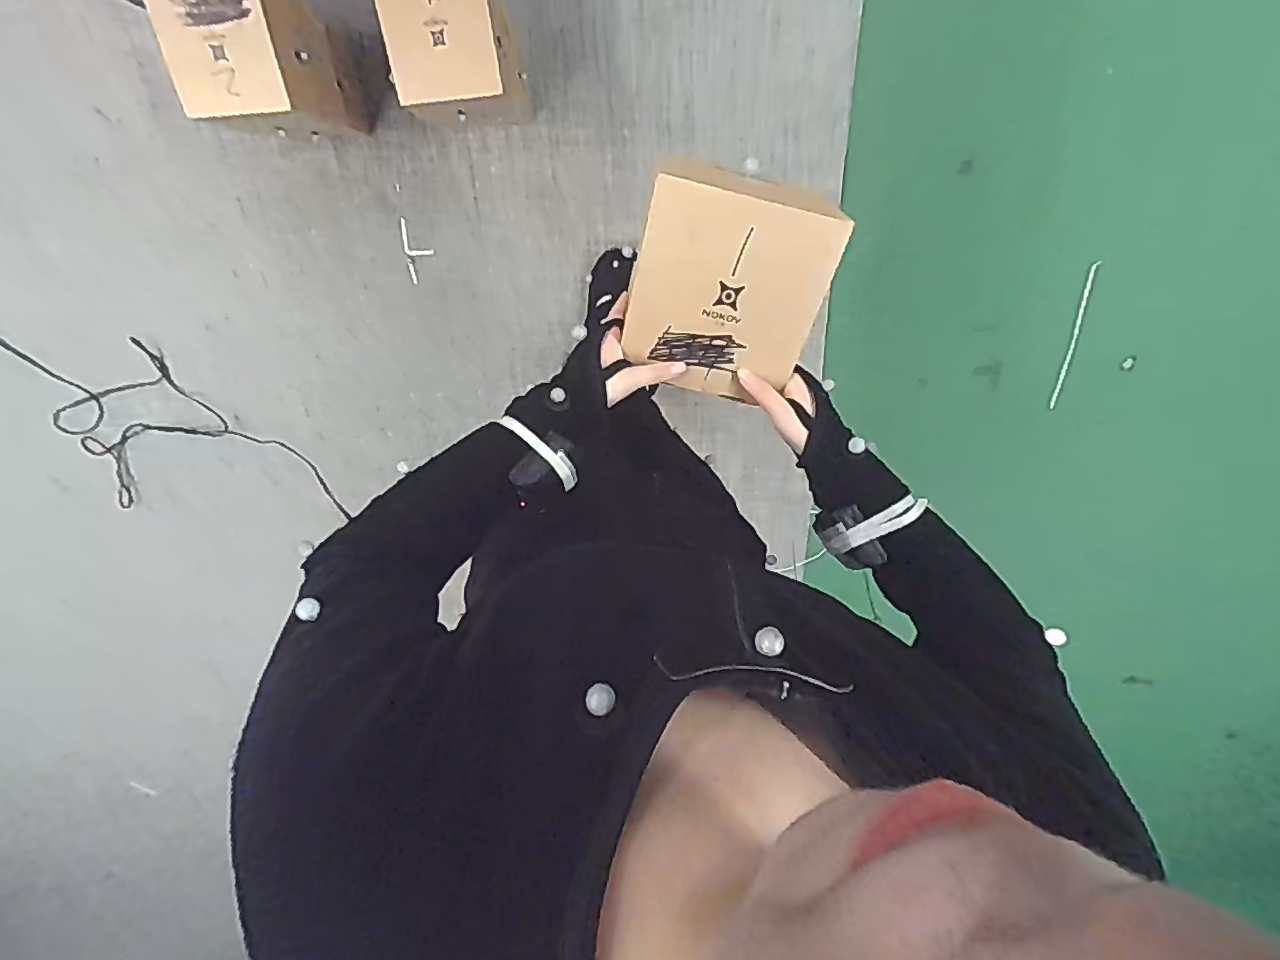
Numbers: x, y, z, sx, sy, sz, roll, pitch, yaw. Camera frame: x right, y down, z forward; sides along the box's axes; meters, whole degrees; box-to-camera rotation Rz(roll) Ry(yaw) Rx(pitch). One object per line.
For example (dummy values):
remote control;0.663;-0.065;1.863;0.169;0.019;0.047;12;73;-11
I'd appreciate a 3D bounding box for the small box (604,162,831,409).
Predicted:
small box;0.066;-0.202;0.551;0.168;0.176;0.179;11;125;-6

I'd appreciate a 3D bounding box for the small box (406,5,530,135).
small box;-0.322;-0.783;1.048;0.179;0.176;0.168;-5;115;-1
